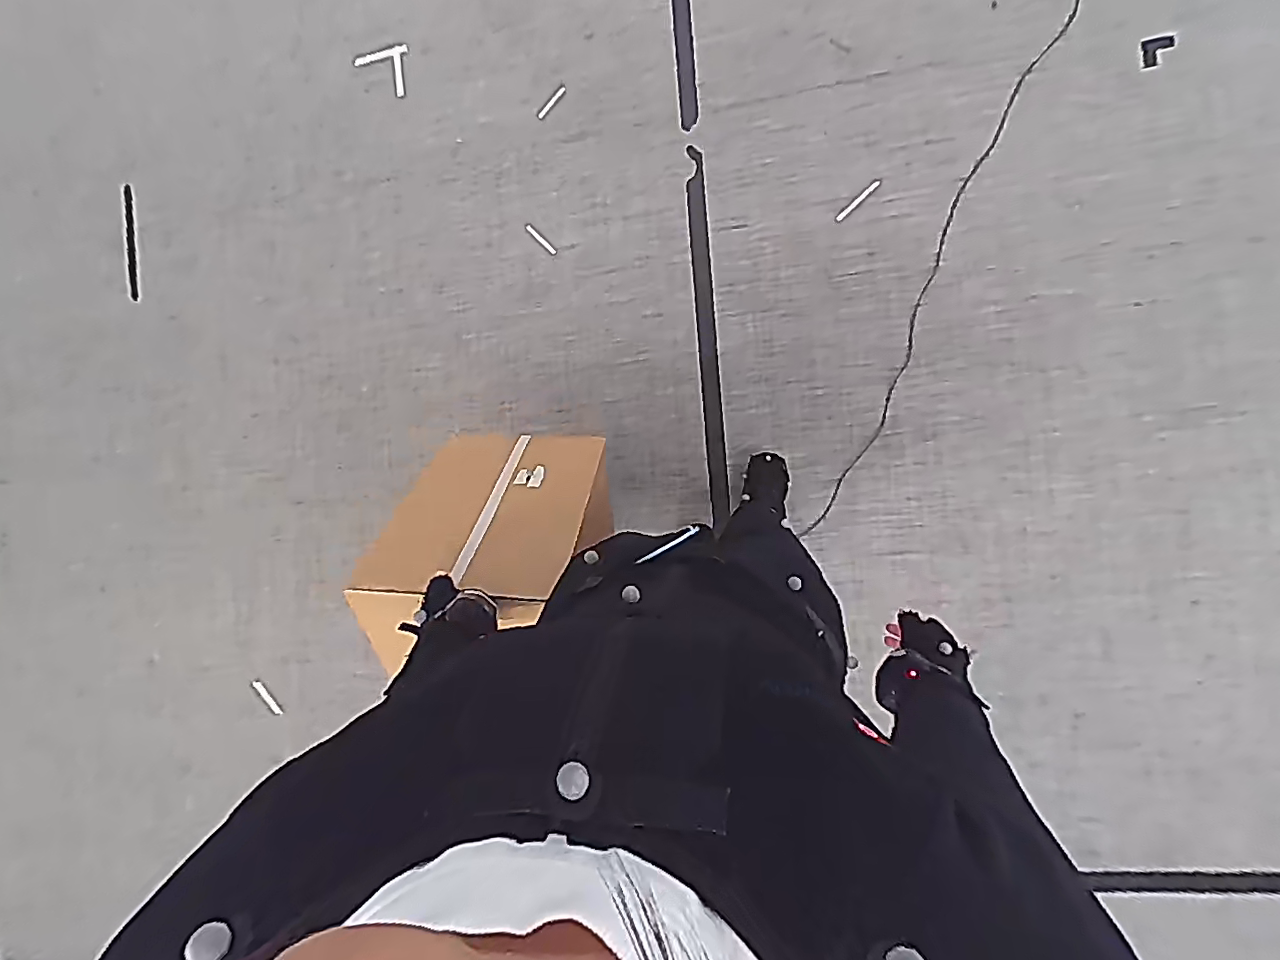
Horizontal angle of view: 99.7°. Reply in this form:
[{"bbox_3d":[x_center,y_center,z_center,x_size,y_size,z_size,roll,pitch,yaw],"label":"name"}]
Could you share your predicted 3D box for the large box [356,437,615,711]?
[{"bbox_3d":[-0.235,0.160,1.004,0.320,0.408,0.320,3,127,7],"label":"large box"}]
